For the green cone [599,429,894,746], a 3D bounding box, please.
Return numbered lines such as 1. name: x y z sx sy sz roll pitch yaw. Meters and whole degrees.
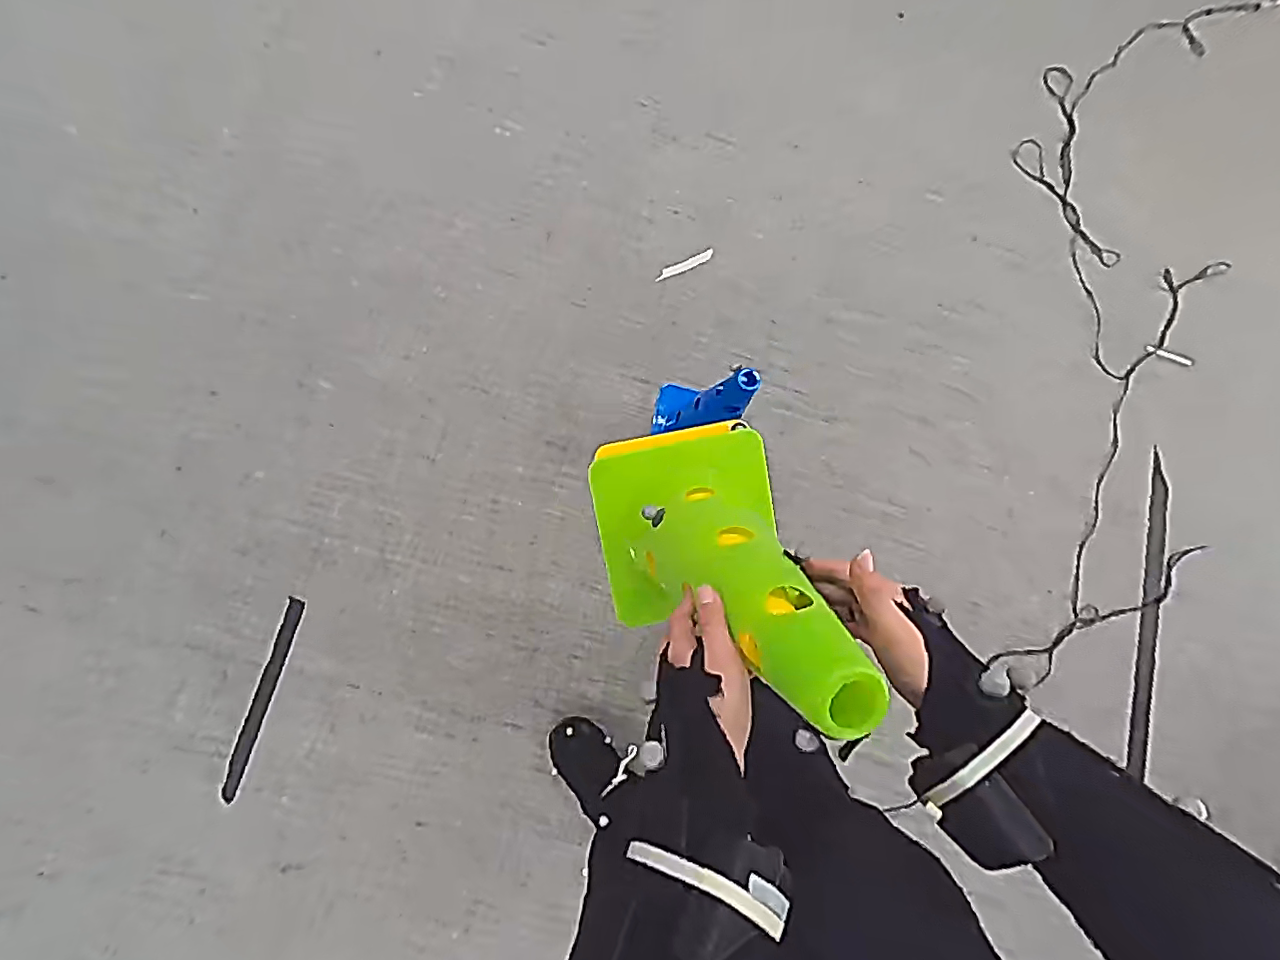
1. green cone: 0.086 0.078 0.432 0.202 0.368 0.200 -12 99 -5
